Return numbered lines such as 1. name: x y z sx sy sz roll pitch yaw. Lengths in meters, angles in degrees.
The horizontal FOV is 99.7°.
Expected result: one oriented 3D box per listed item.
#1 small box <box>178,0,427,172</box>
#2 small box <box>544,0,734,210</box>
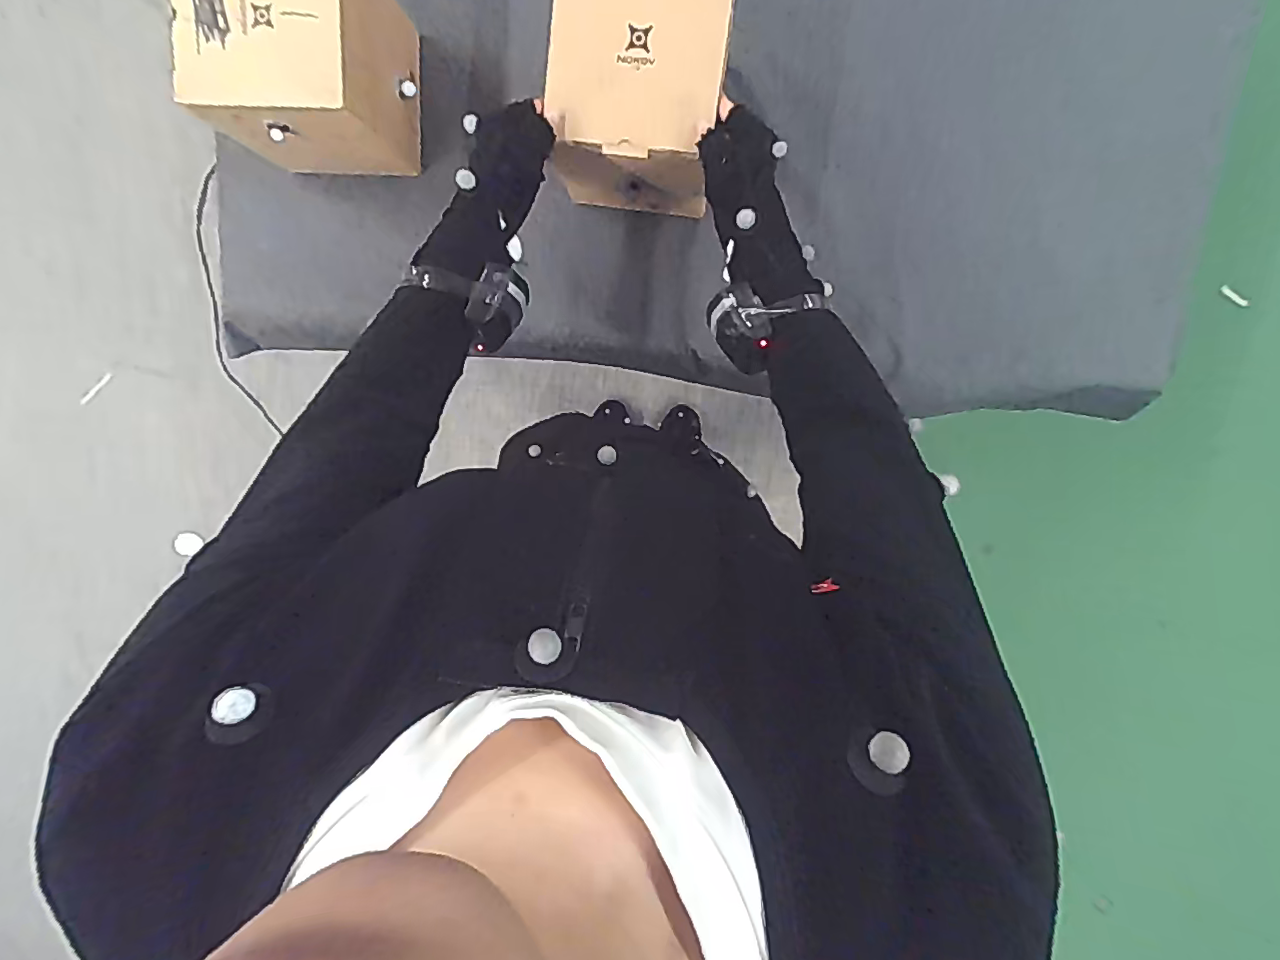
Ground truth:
1. small box: -0.360 -0.463 0.602 0.179 0.176 0.168 4 100 3
2. small box: 0.005 -0.412 0.582 0.168 0.176 0.179 8 99 3
